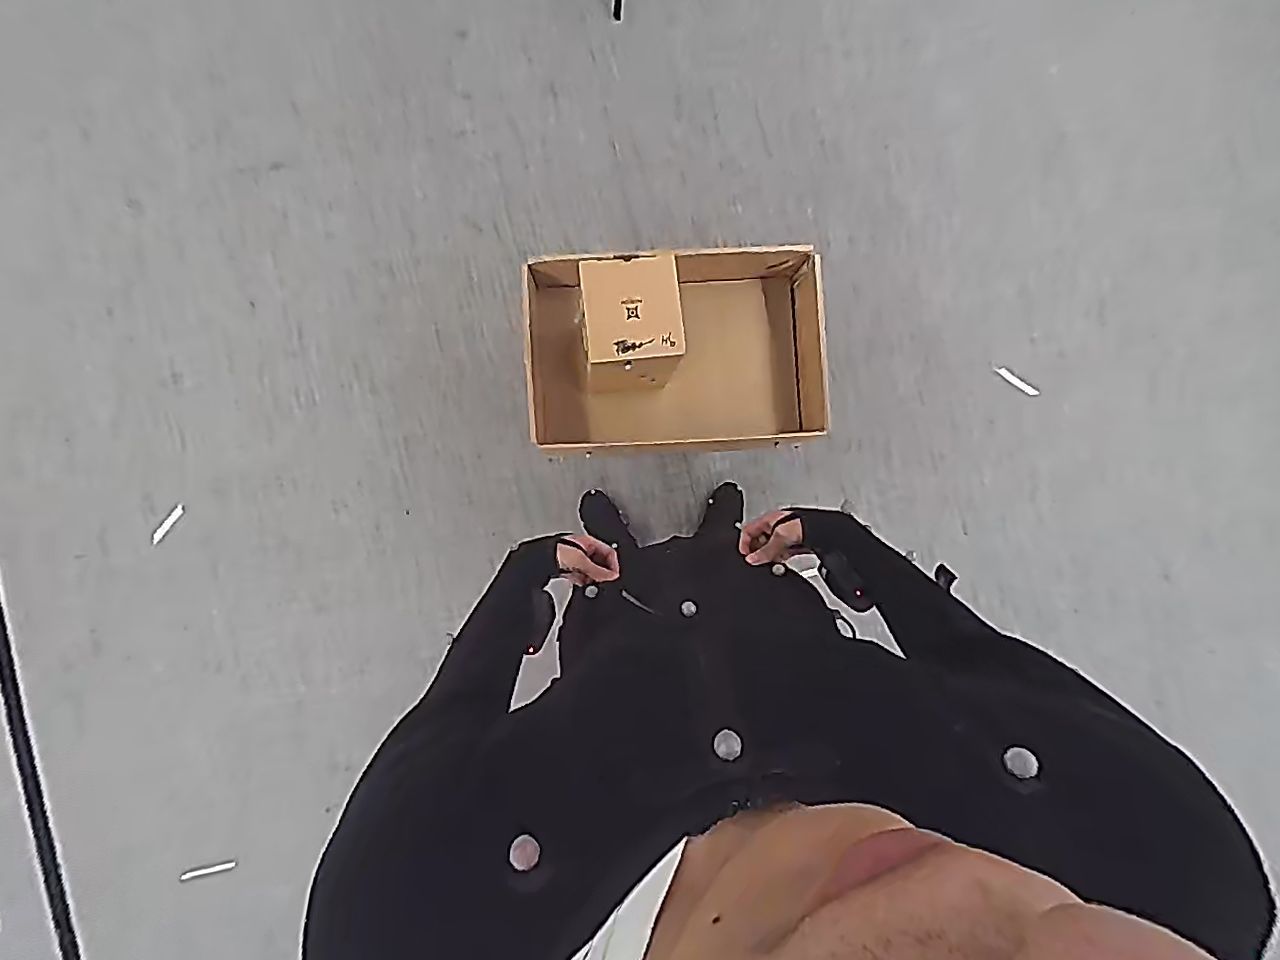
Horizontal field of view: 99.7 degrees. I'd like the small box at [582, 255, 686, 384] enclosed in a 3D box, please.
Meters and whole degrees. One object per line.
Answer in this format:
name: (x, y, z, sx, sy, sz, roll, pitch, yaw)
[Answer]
small box: (-0.018, -0.284, 0.986, 0.168, 0.176, 0.179, -6, 88, -4)
